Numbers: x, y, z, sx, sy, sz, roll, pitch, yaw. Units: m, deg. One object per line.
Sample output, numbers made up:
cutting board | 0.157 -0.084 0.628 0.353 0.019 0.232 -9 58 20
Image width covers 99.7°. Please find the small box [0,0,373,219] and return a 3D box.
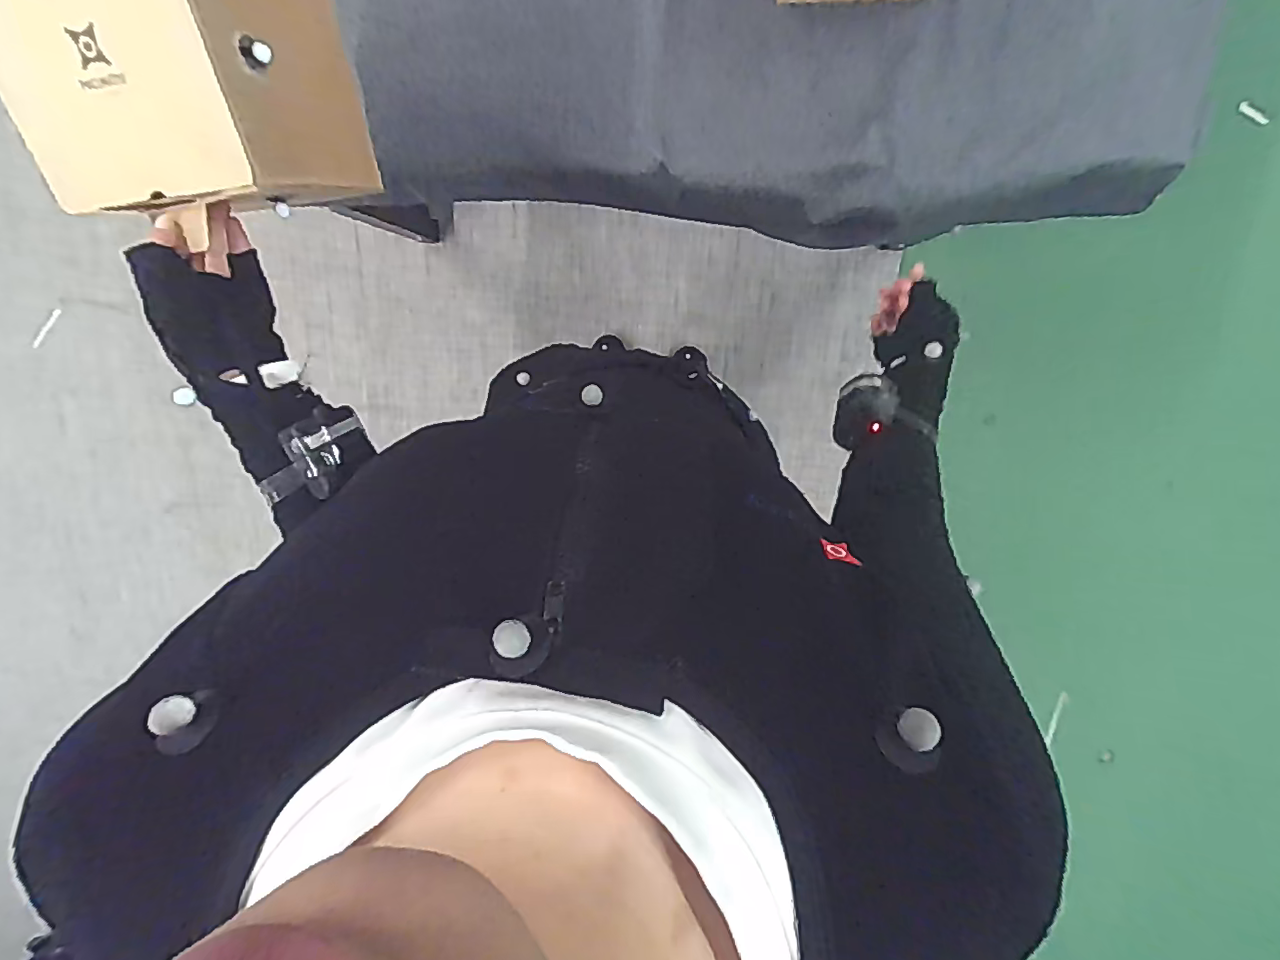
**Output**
small box | -0.342 -0.309 0.415 0.168 0.176 0.179 -3 116 9
